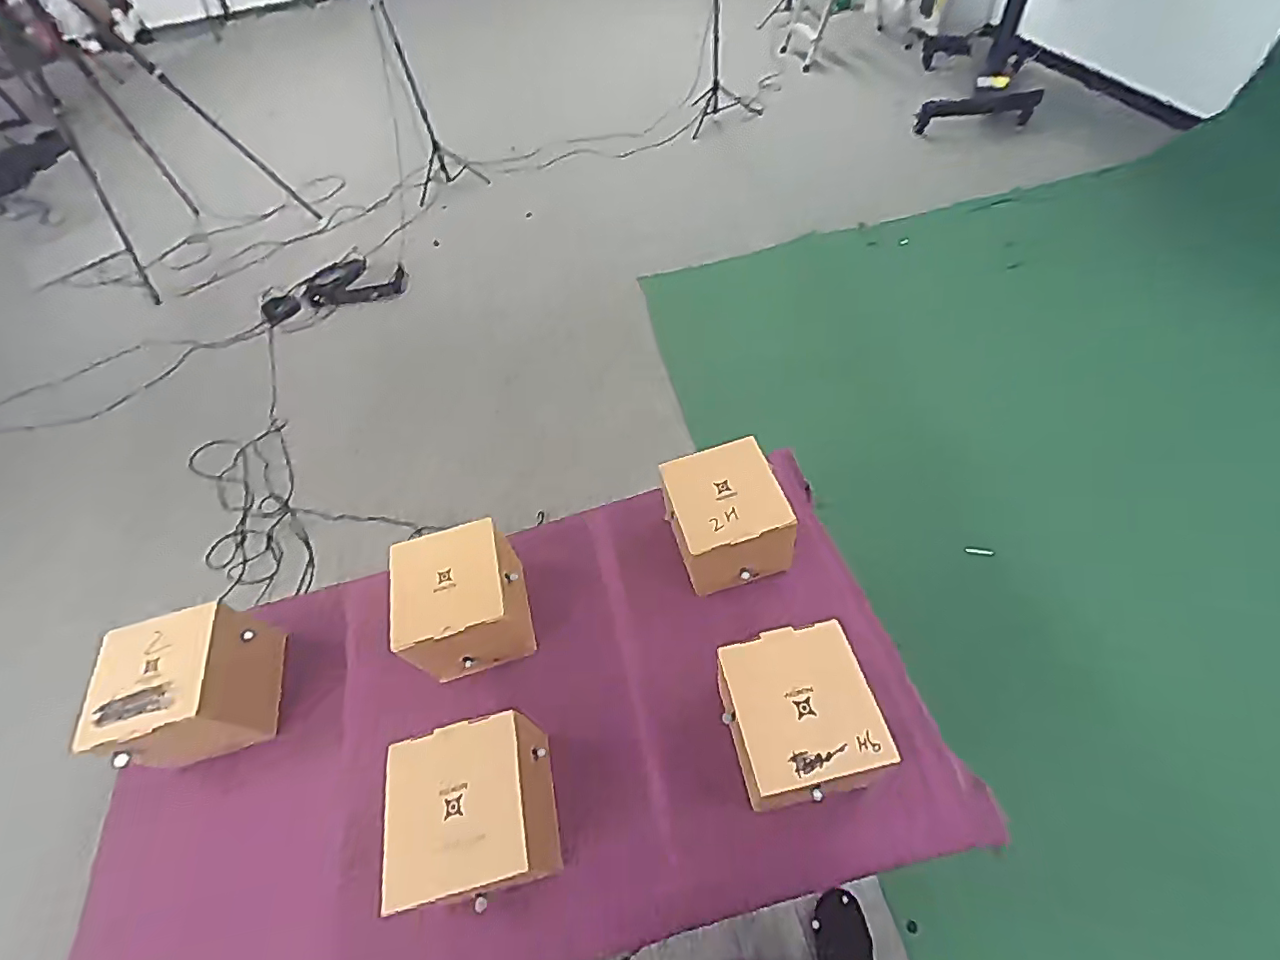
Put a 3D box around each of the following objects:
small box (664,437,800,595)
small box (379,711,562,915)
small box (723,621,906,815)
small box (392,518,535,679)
[{"bbox_3d":[0.145,0.063,0.893,0.168,0.176,0.179,-17,55,-2],"label":"small box"},{"bbox_3d":[-0.205,0.422,0.688,0.168,0.176,0.179,-15,54,-2],"label":"small box"},{"bbox_3d":[0.210,0.314,0.709,0.168,0.176,0.179,-14,52,-1],"label":"small box"},{"bbox_3d":[-0.277,0.192,0.862,0.168,0.176,0.179,-16,56,-5],"label":"small box"}]
